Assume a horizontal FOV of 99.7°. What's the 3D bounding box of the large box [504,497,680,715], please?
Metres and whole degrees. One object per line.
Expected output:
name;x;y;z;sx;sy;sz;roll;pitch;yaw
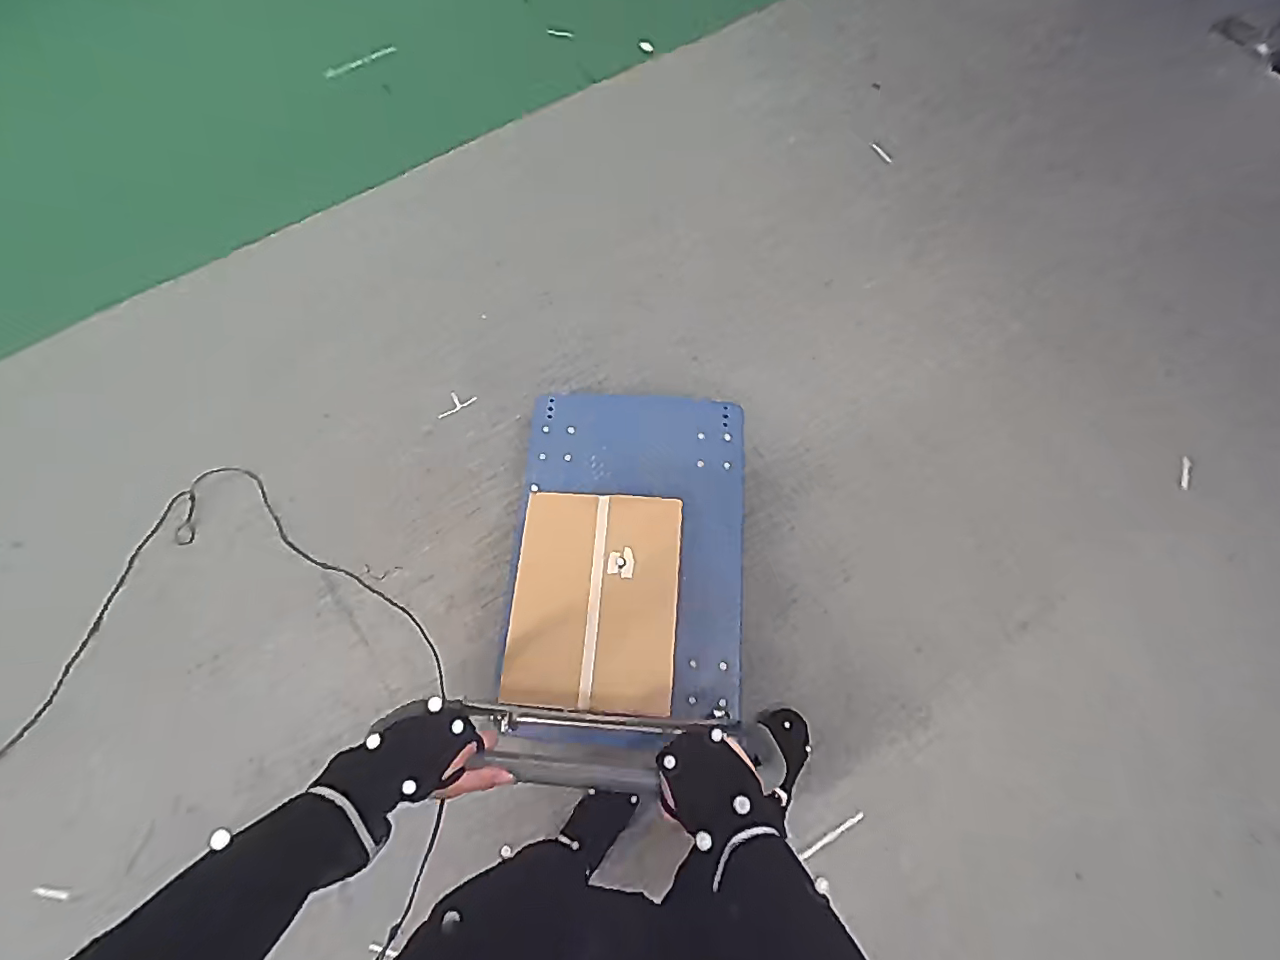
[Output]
large box;-0.077;0.279;1.170;0.320;0.320;0.408;3;70;3
